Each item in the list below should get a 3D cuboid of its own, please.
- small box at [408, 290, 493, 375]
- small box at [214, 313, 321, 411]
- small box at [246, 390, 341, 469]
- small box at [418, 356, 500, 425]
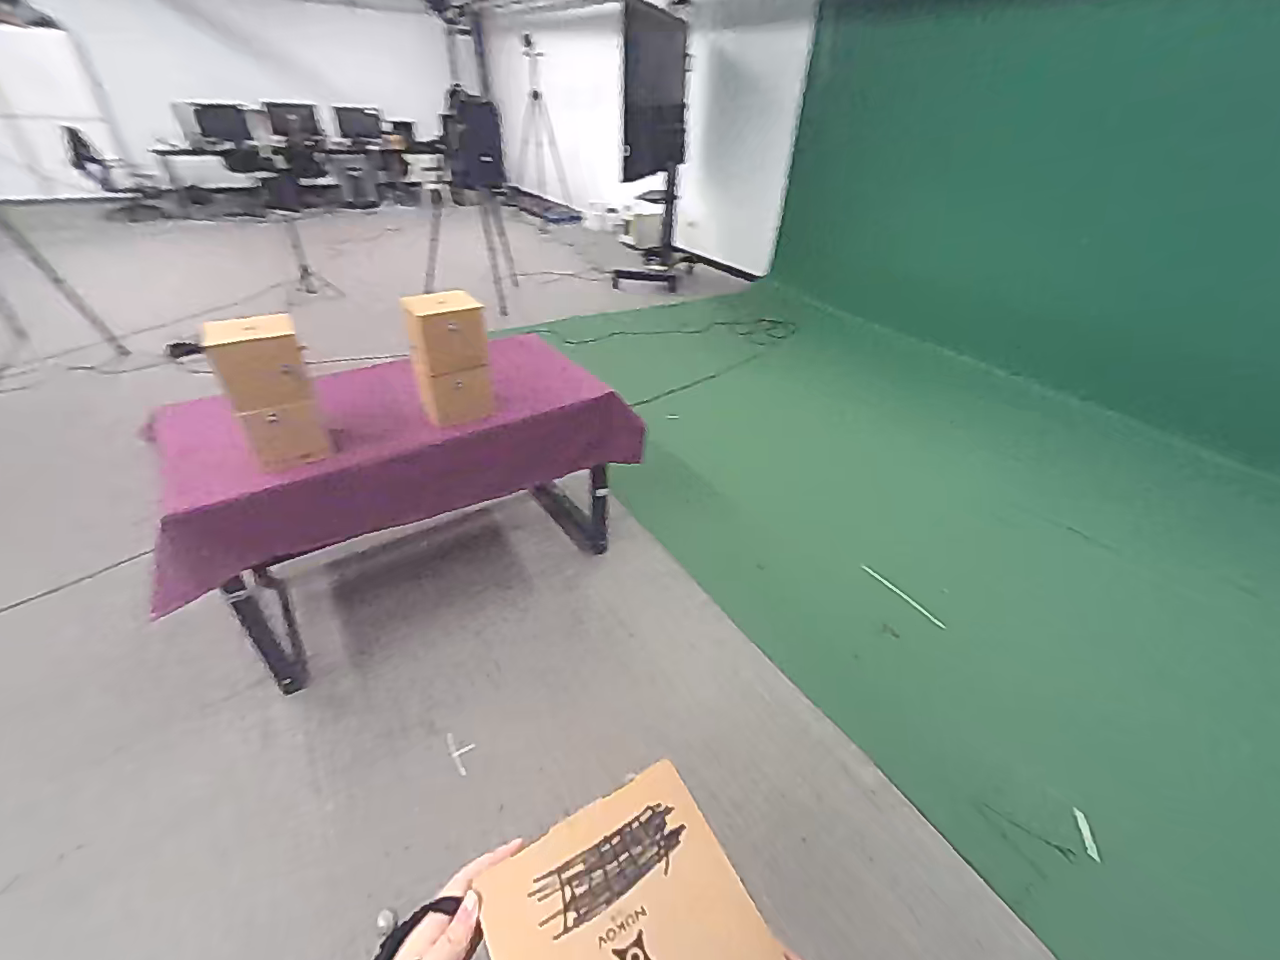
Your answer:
[{"bbox_3d":[-0.522,-0.412,1.508,0.179,0.176,0.168,-21,42,-28],"label":"small box"},{"bbox_3d":[-0.889,-0.286,1.303,0.179,0.176,0.168,-18,40,-26],"label":"small box"},{"bbox_3d":[-0.896,-0.152,1.398,0.168,0.176,0.179,-19,40,-27],"label":"small box"},{"bbox_3d":[-0.532,-0.279,1.601,0.179,0.176,0.168,-19,41,-28],"label":"small box"}]
